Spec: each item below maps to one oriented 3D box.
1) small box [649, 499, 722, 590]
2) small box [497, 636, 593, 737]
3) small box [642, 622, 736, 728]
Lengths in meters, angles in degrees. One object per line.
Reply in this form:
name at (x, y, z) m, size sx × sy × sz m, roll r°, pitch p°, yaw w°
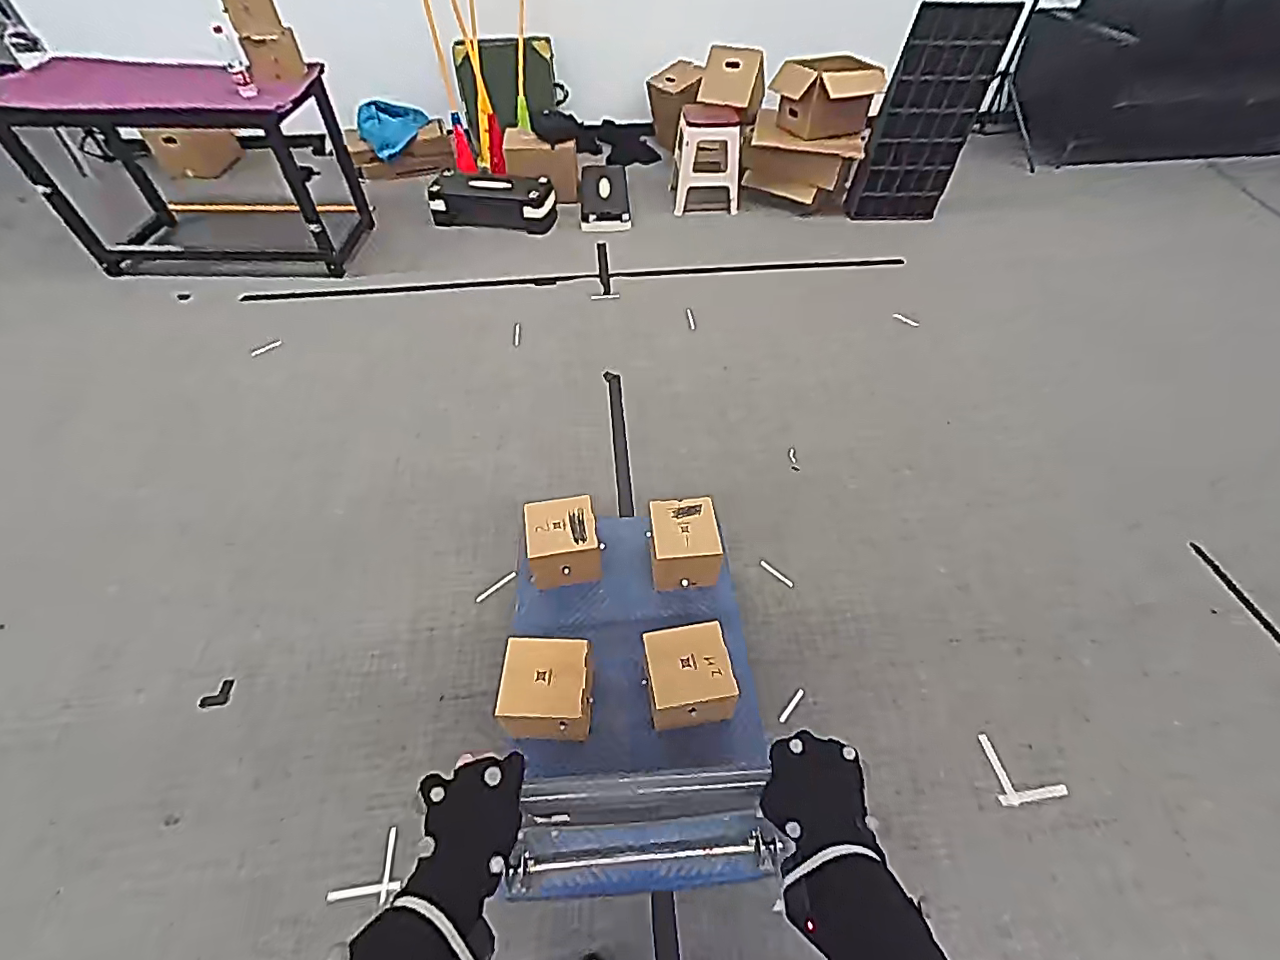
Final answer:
small box at (0.114, 0.173, 1.437) m, size 0.168 × 0.176 × 0.179 m, roll -4°, pitch 52°, yaw -4°
small box at (-0.202, 0.461, 1.199) m, size 0.179 × 0.176 × 0.168 m, roll 2°, pitch 50°, yaw 0°
small box at (0.104, 0.442, 1.215) m, size 0.179 × 0.176 × 0.168 m, roll -7°, pitch 51°, yaw -6°
